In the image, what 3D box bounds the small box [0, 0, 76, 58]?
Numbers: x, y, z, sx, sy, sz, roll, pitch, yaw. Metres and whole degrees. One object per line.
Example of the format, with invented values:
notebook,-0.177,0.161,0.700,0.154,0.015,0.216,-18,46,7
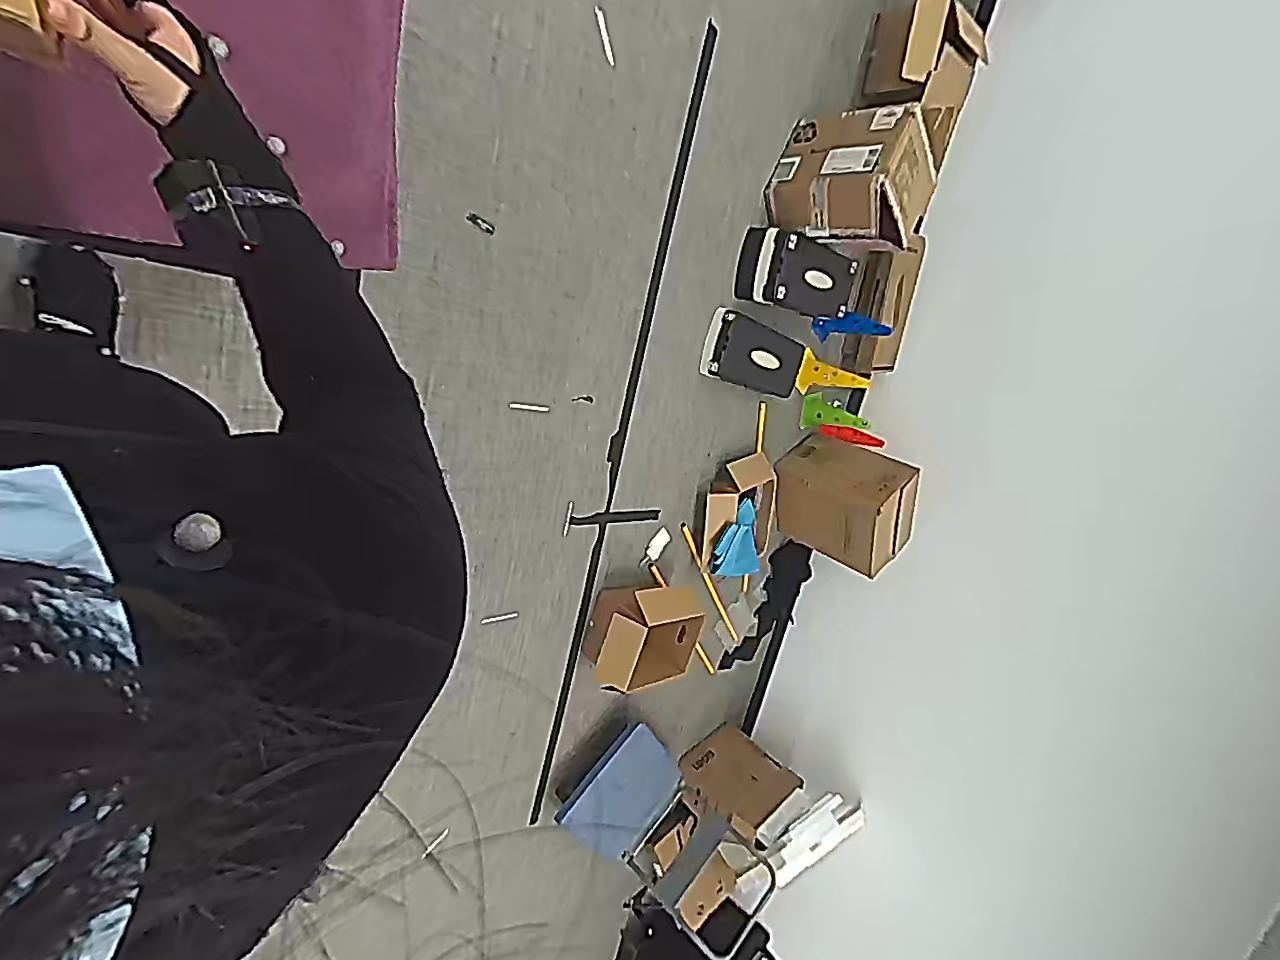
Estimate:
small box,-0.426,-0.375,0.289,0.168,0.176,0.179,1,111,-43
